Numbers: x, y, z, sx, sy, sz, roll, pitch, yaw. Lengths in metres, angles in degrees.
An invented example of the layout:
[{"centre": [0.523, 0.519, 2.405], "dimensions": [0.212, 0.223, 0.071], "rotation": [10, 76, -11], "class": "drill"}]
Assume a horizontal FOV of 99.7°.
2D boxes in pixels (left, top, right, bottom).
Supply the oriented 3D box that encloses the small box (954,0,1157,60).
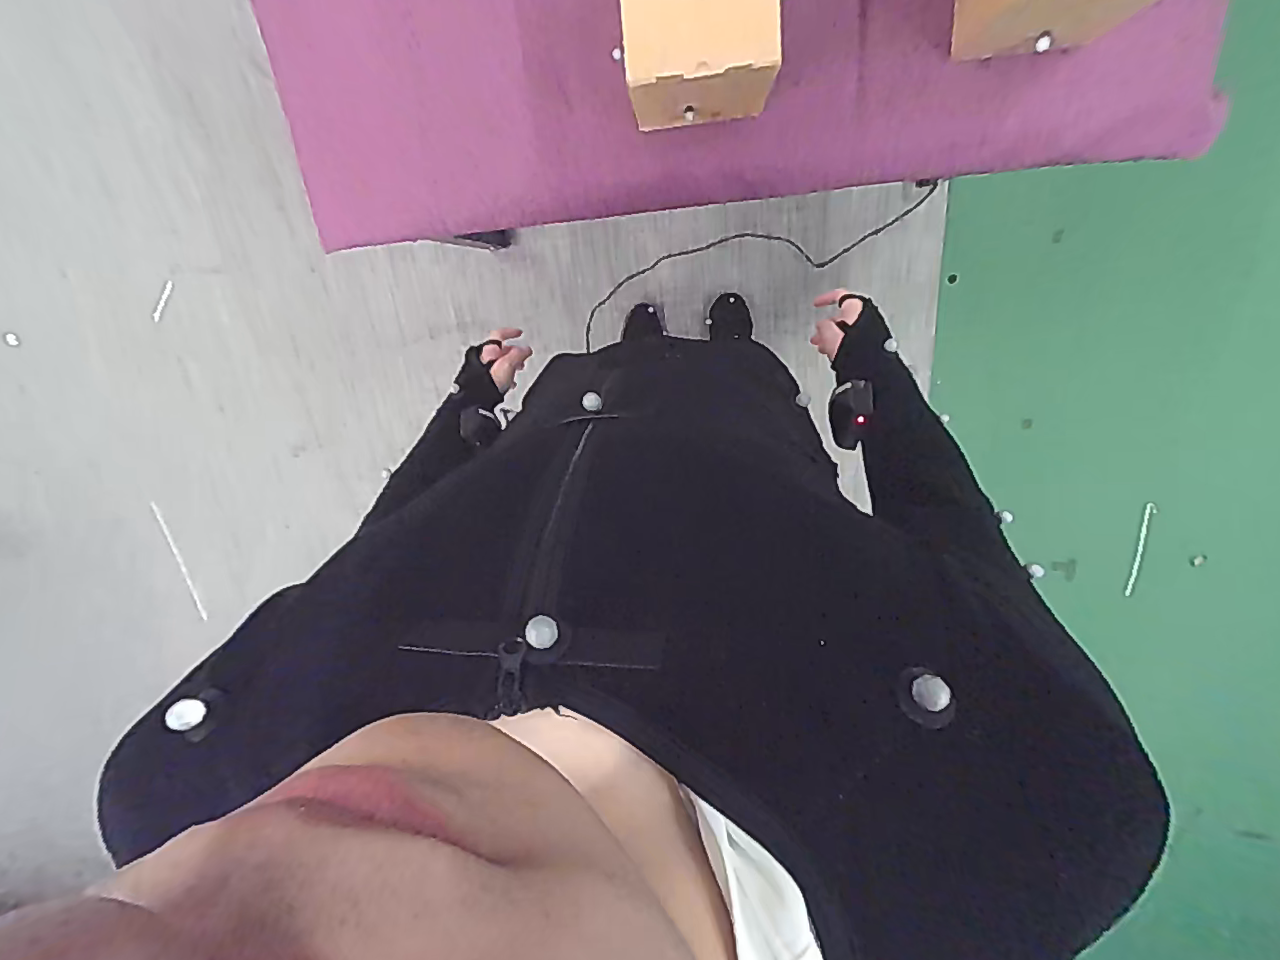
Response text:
[{"centre": [0.460, -0.590, 0.573], "dimensions": [0.168, 0.176, 0.179], "rotation": [-2, 108, 6], "class": "small box"}]
